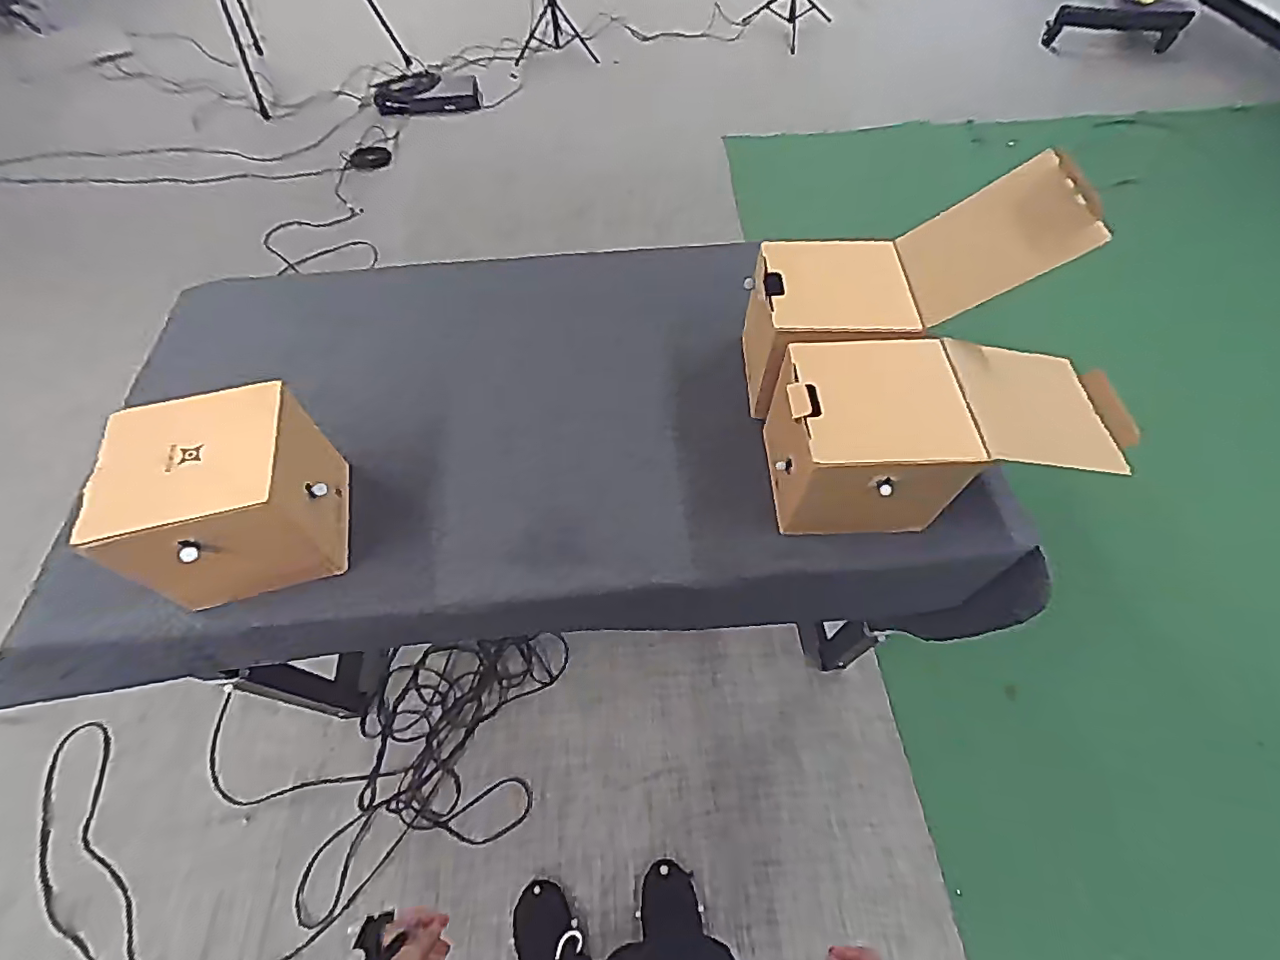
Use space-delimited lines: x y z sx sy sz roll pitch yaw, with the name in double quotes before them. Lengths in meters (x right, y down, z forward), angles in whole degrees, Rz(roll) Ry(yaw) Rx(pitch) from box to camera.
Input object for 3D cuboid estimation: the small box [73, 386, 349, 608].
"small box" -0.453 0.024 0.611 0.179 0.176 0.168 -14 58 -7
